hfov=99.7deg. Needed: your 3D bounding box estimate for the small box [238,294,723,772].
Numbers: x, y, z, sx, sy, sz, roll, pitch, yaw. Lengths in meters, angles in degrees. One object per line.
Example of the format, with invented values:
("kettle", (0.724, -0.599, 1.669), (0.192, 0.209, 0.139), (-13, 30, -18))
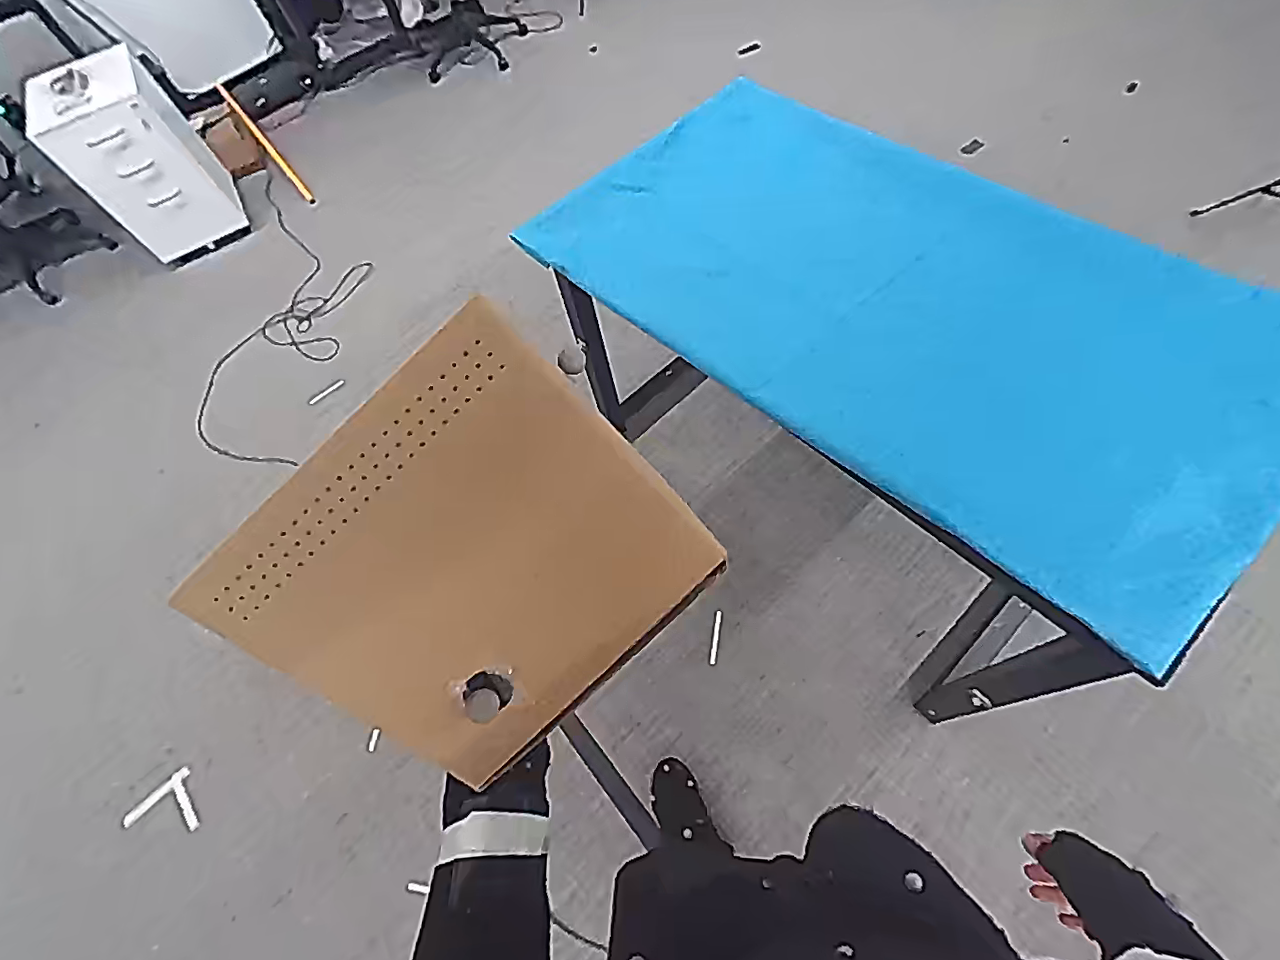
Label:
("small box", (-0.090, 0.017, 0.321), (0.179, 0.176, 0.168), (-44, 22, 1))
